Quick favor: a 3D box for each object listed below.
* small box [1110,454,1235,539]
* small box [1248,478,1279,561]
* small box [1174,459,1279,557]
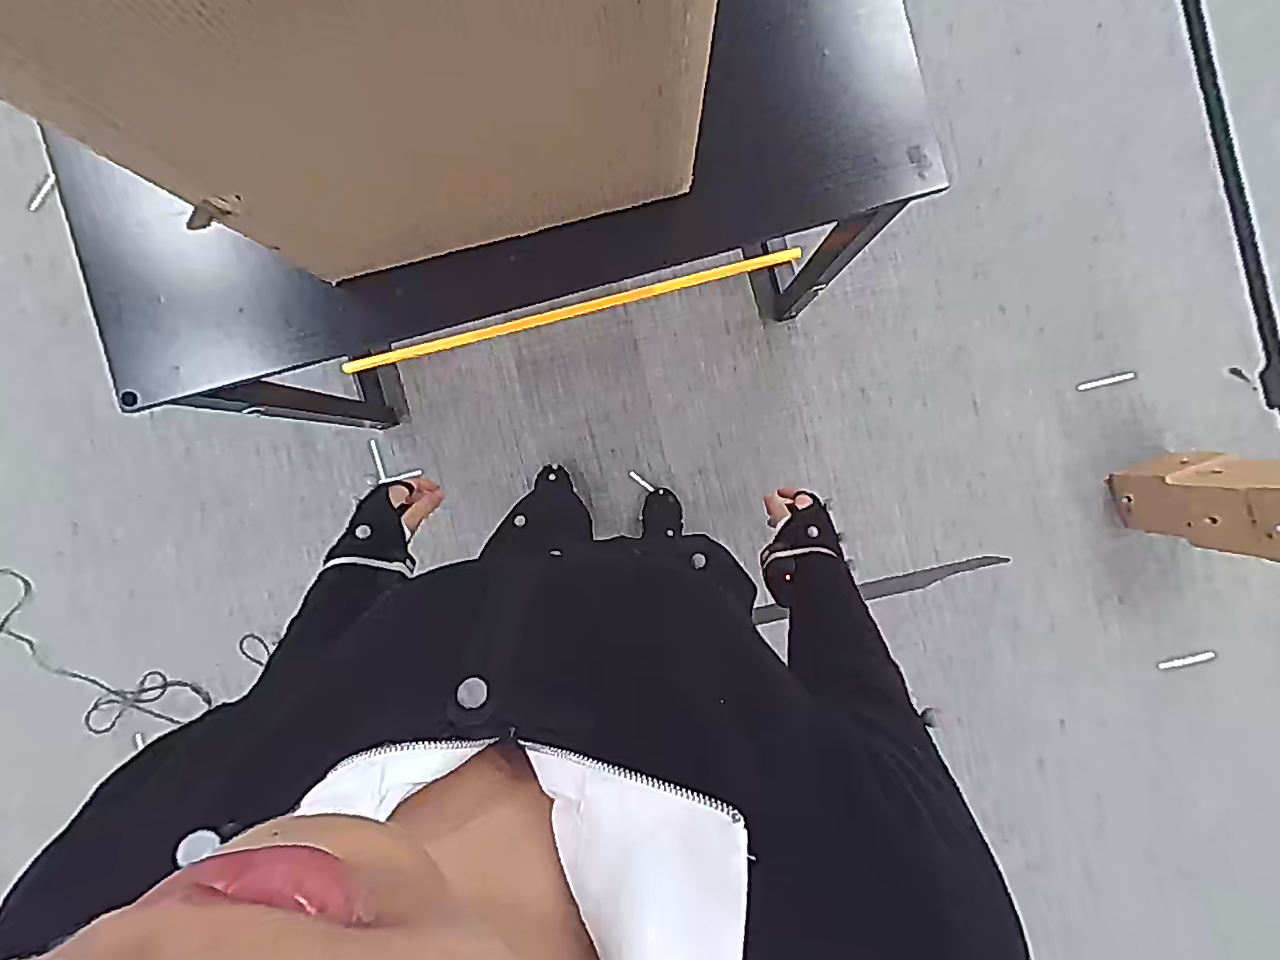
[{"bbox_3d":[1.378,0.036,1.388,0.179,0.176,0.168,-20,91,3],"label":"small box"},{"bbox_3d":[1.381,0.071,1.060,0.179,0.176,0.168,-16,90,2],"label":"small box"},{"bbox_3d":[1.379,0.059,1.225,0.179,0.176,0.168,-21,91,2],"label":"small box"}]
